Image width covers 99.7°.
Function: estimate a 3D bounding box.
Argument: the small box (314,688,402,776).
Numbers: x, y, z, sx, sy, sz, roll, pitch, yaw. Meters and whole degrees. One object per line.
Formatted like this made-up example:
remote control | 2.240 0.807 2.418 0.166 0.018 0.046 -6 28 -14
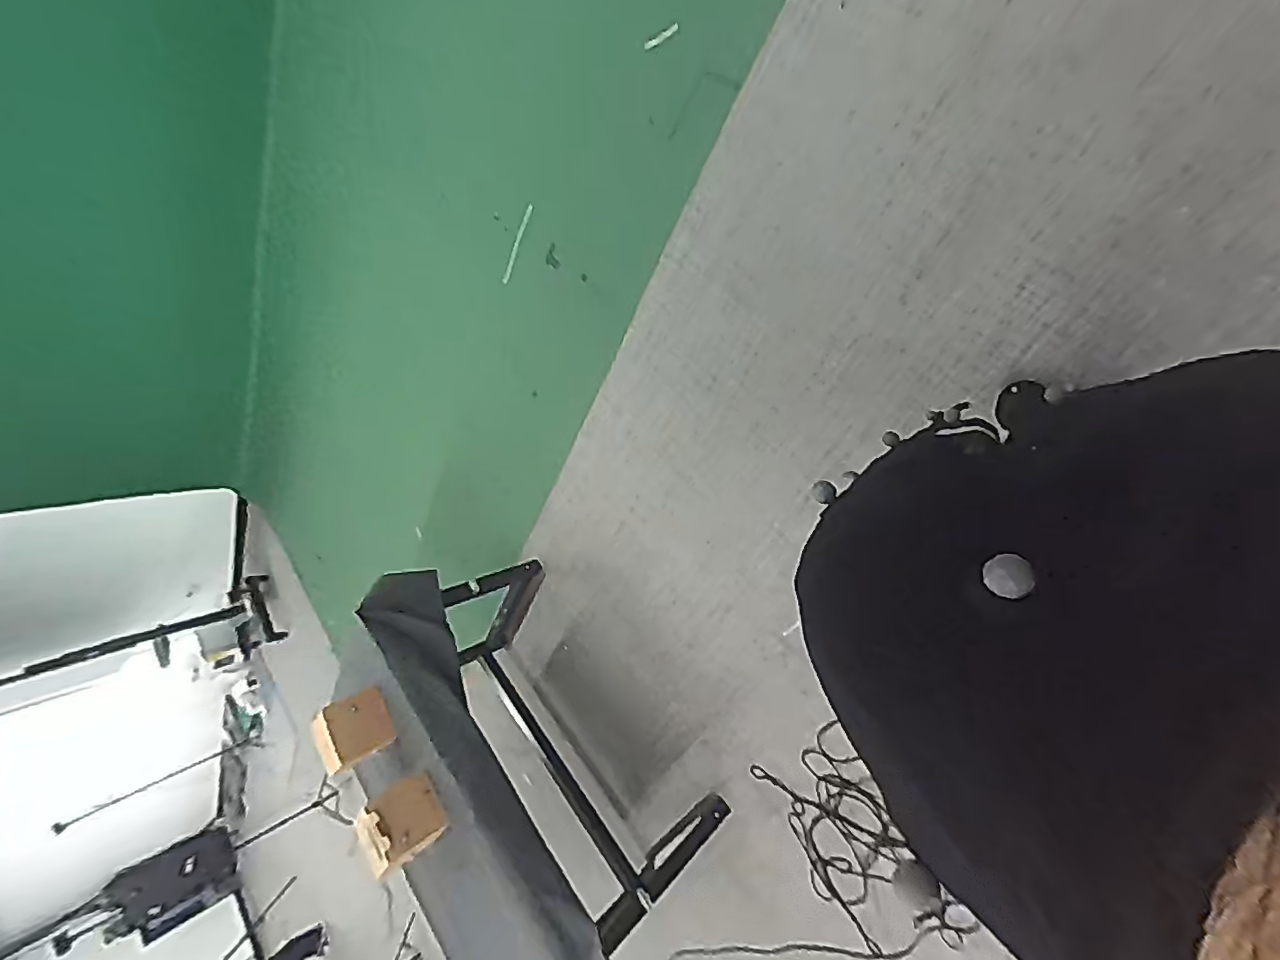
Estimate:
small box | -0.860 0.760 1.650 0.168 0.176 0.179 -45 71 38
